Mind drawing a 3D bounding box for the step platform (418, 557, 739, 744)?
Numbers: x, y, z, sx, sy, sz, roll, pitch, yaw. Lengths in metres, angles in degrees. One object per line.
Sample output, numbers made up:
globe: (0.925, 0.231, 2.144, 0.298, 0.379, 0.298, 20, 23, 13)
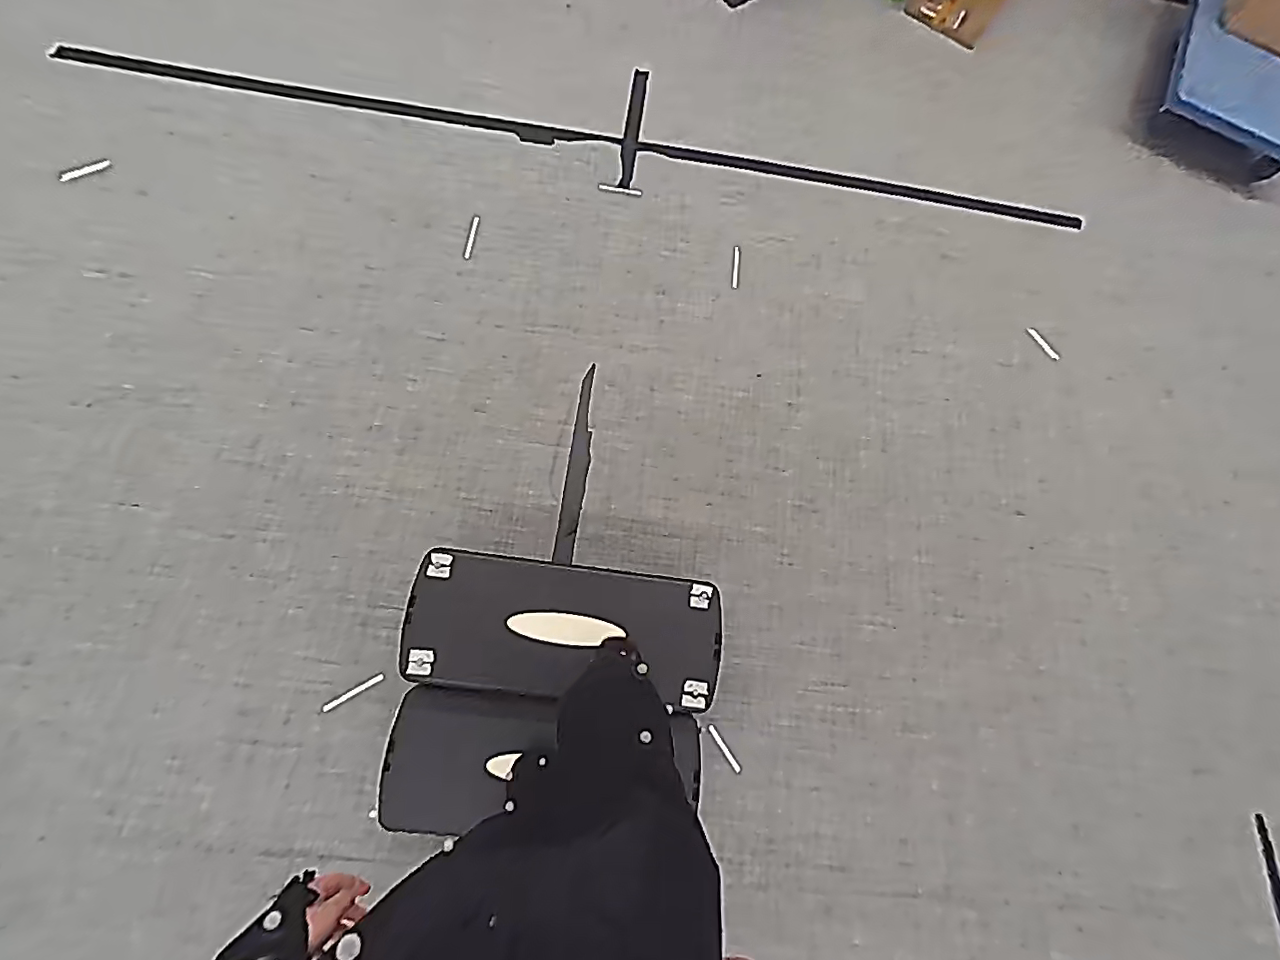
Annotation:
step platform: (-0.126, 0.378, 1.213, 0.684, 0.204, 0.286, 12, 70, -3)
